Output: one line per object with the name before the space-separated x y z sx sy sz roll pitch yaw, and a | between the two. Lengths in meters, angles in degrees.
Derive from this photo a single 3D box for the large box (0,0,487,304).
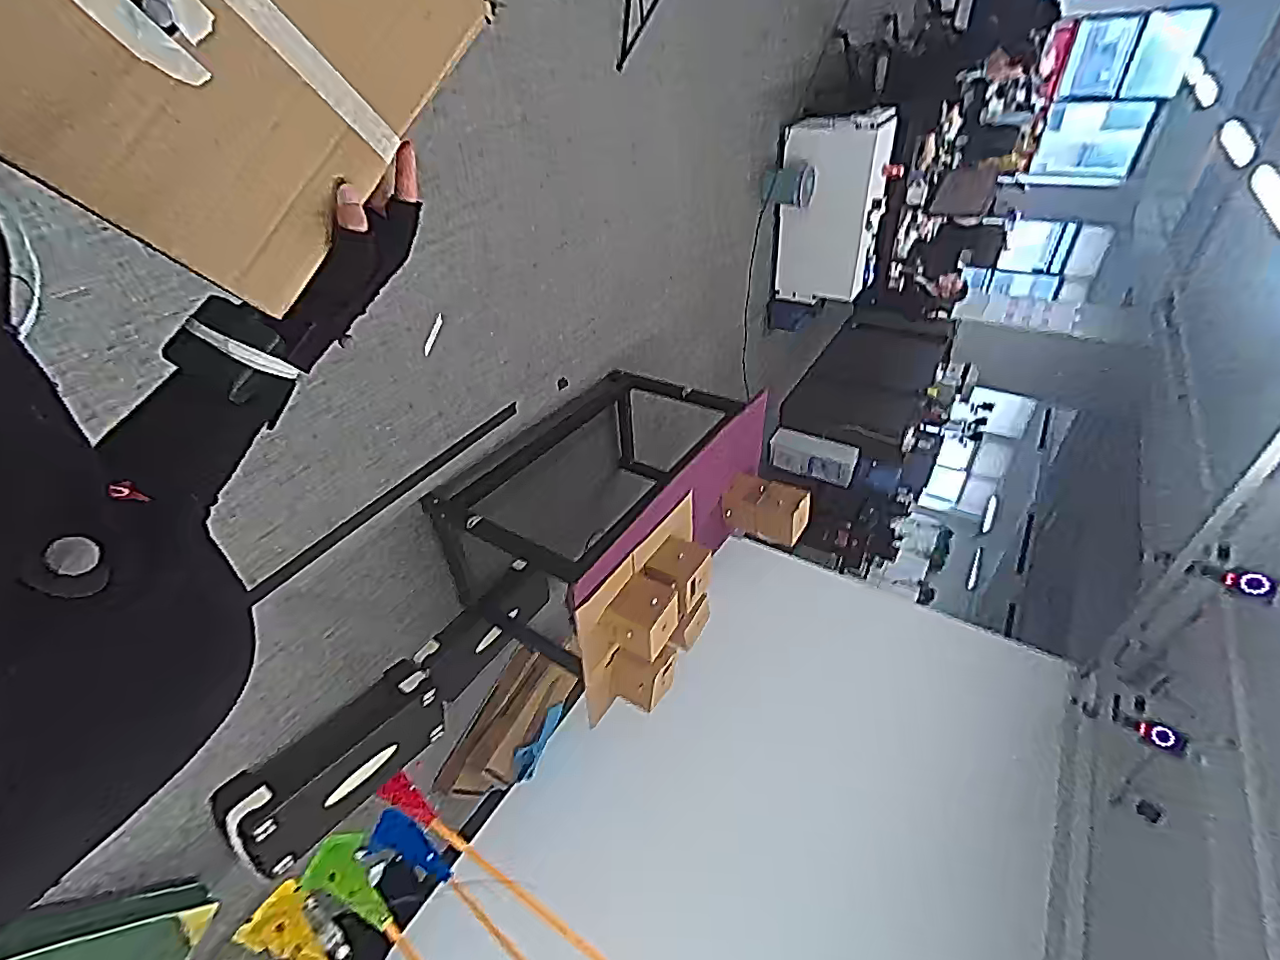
large box | -0.397 -0.386 0.343 0.320 0.320 0.408 -58 148 -4
